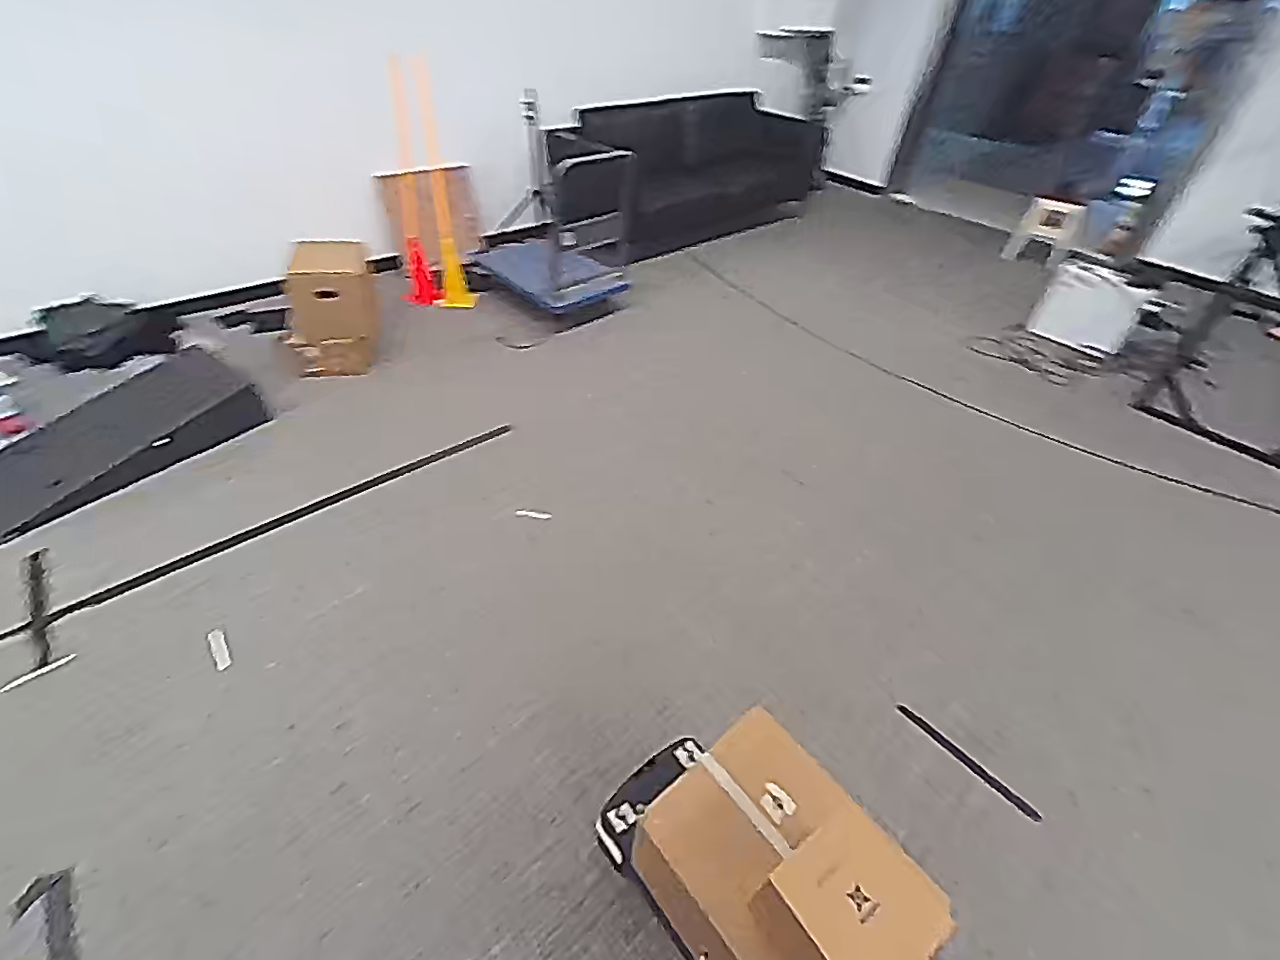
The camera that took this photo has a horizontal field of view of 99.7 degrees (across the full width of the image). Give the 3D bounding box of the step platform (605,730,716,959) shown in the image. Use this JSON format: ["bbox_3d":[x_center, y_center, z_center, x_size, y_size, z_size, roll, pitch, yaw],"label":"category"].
[{"bbox_3d":[0.206,0.886,1.118,0.286,0.204,0.684,-23,48,-26],"label":"step platform"}]

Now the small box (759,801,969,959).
[{"bbox_3d":[0.288,0.588,0.733,0.168,0.176,0.179,-23,48,-25],"label":"small box"}]

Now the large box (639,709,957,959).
[{"bbox_3d":[0.240,0.714,0.955,0.320,0.320,0.408,-27,50,-30],"label":"large box"}]
